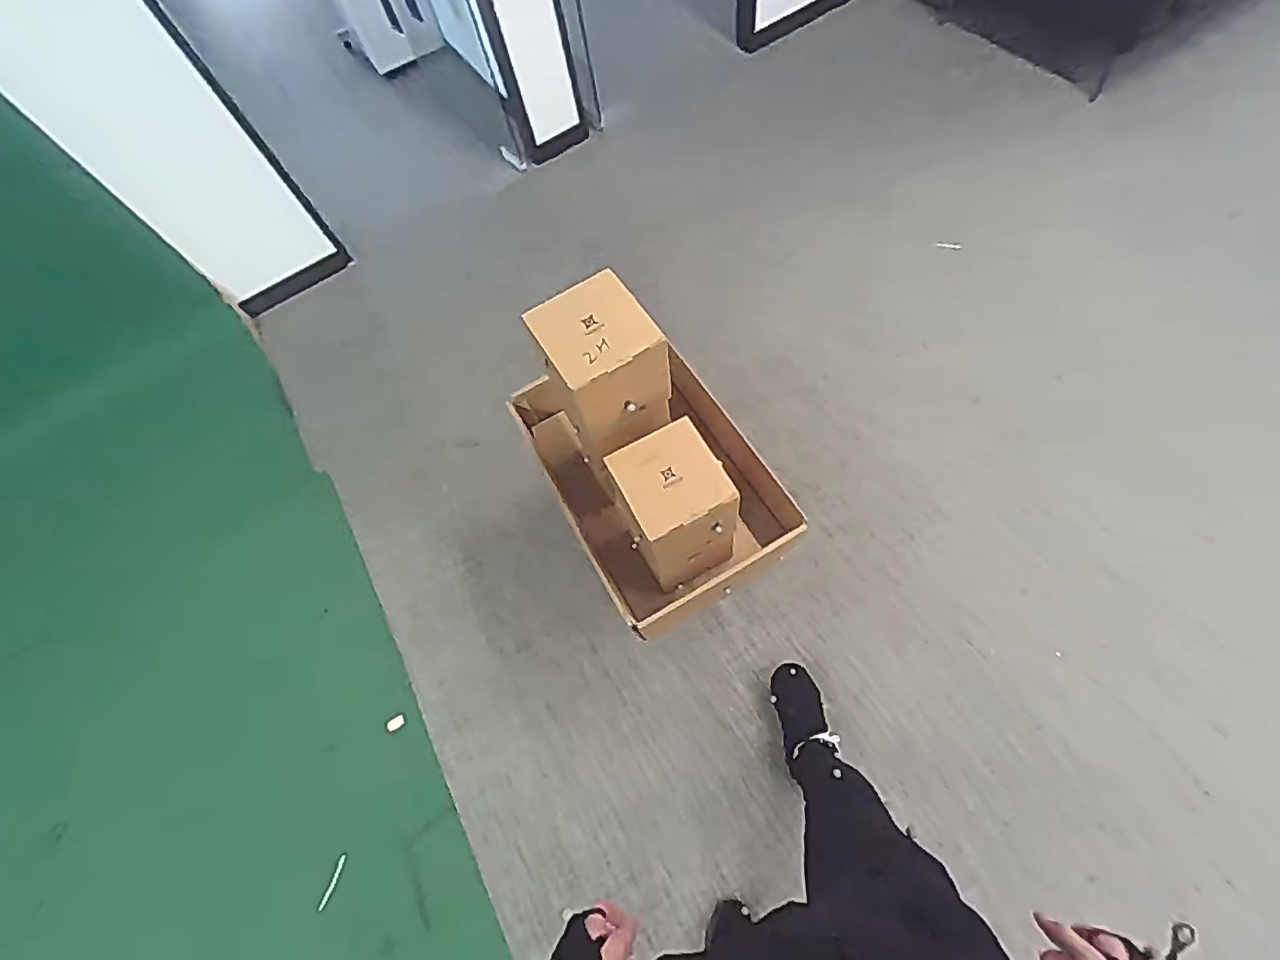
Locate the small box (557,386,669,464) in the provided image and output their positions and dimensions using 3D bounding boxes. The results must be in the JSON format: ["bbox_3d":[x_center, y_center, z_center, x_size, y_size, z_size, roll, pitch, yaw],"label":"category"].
[{"bbox_3d":[-0.056,-0.159,1.059,0.168,0.176,0.179,-30,67,-6],"label":"small box"}]

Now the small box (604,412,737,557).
[{"bbox_3d":[0.058,0.019,0.954,0.168,0.176,0.179,-27,63,-5],"label":"small box"}]

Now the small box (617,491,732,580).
[{"bbox_3d":[0.075,0.087,1.101,0.168,0.176,0.179,-29,63,-6],"label":"small box"}]

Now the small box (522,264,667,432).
[{"bbox_3d":[-0.069,-0.212,0.902,0.168,0.176,0.179,-32,68,-6],"label":"small box"}]
